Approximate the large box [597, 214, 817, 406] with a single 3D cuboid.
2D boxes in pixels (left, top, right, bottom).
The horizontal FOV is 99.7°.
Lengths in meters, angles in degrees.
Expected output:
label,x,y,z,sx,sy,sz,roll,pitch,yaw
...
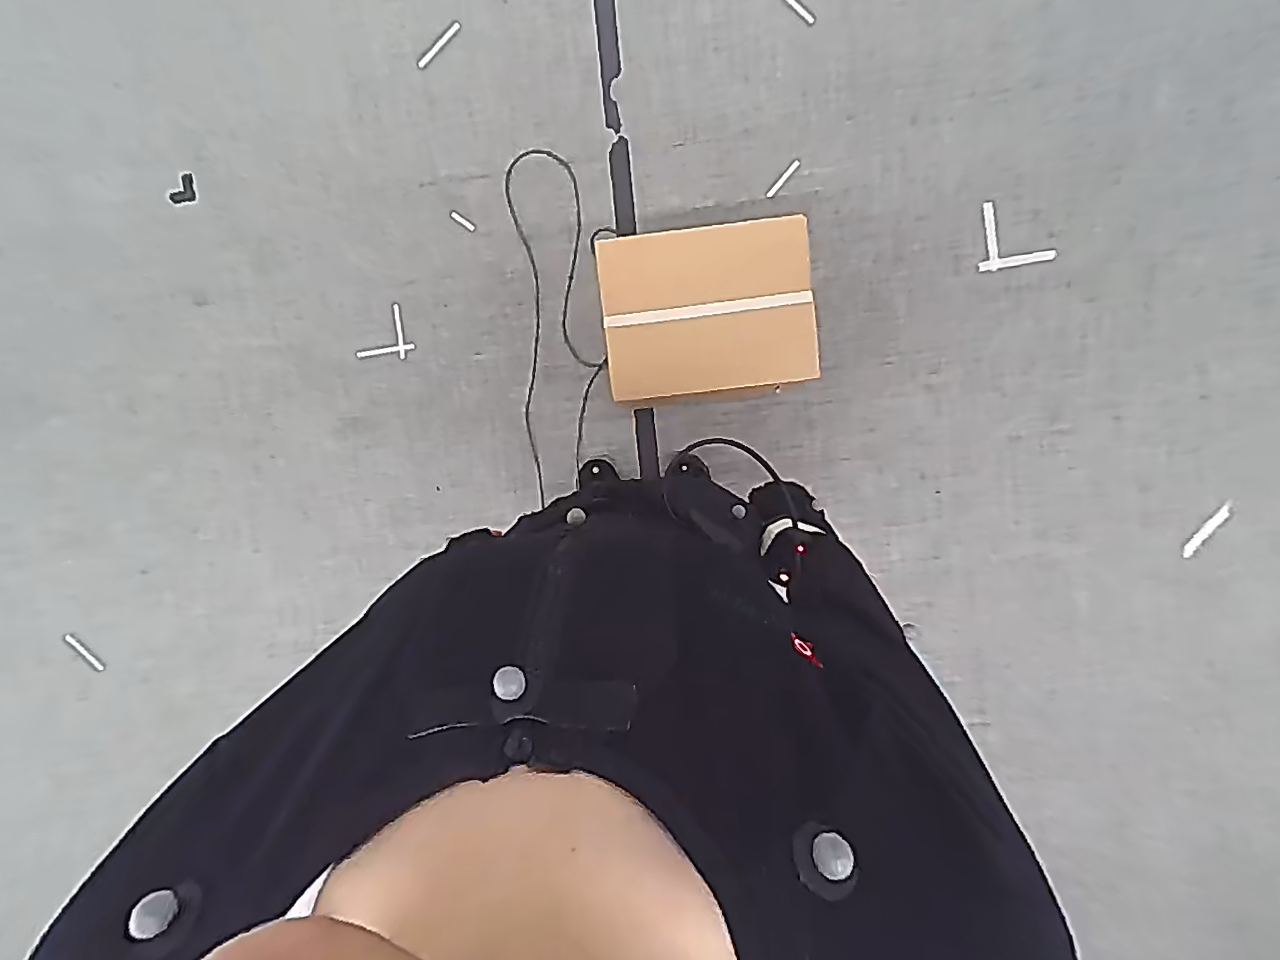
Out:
label,x,y,z,sx,sy,sz,roll,pitch,yaw
large box,0.137,-0.345,1.194,0.408,0.320,0.320,-6,94,3
